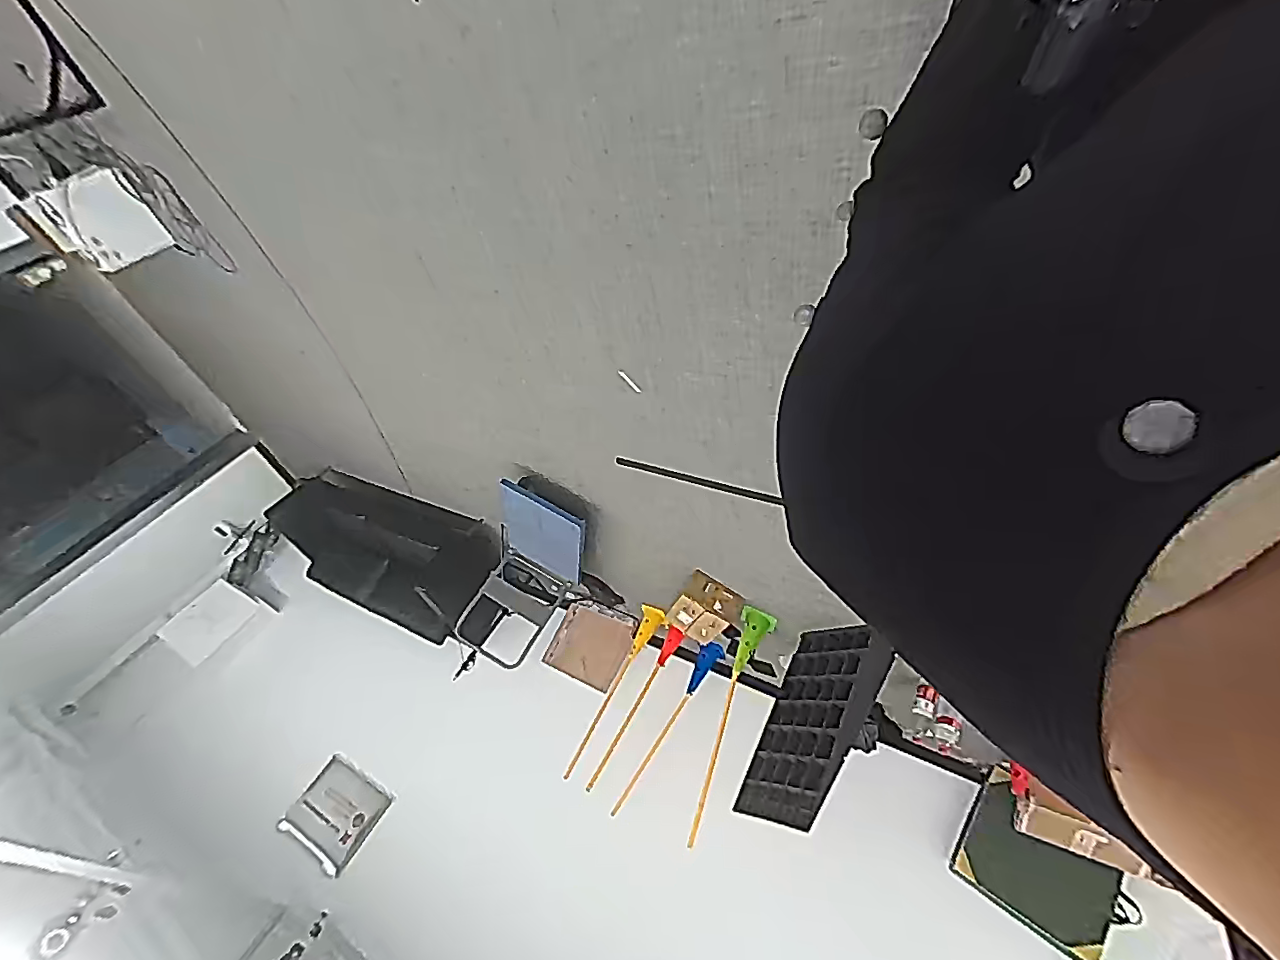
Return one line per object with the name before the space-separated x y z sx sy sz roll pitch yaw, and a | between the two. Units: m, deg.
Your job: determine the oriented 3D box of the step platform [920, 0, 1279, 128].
step platform | 0.843 -0.760 0.875 0.684 0.204 0.286 20 144 25
